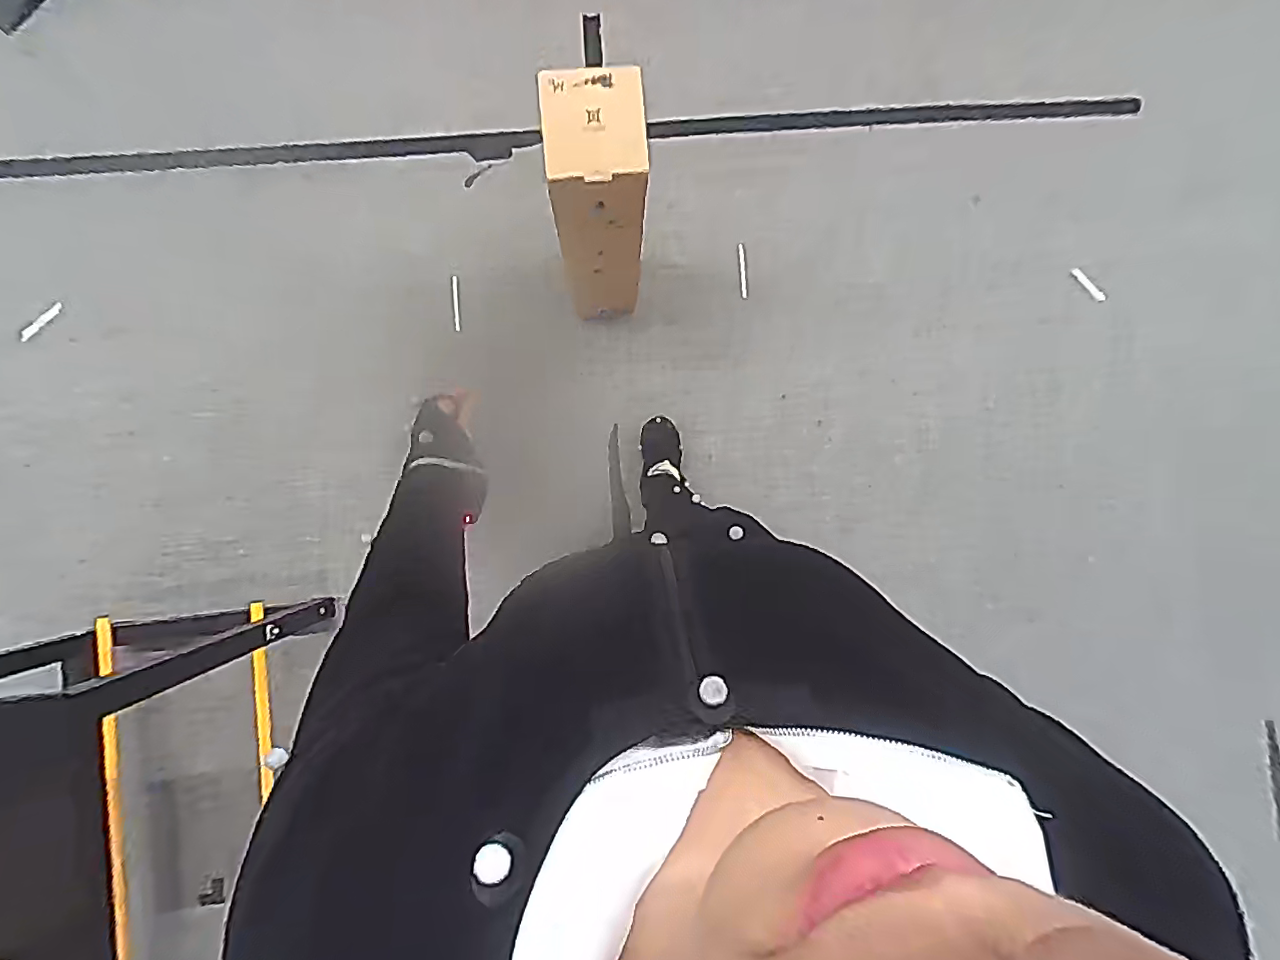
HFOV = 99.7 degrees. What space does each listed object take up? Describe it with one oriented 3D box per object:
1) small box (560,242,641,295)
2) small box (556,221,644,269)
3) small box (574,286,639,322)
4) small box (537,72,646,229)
[{"bbox_3d":[-0.091,-0.541,1.257,0.179,0.176,0.168,-5,89,-3],"label":"small box"},{"bbox_3d":[-0.081,-0.548,1.093,0.168,0.176,0.179,-2,89,-2],"label":"small box"},{"bbox_3d":[-0.098,-0.536,1.421,0.168,0.176,0.179,-10,90,-2],"label":"small box"},{"bbox_3d":[-0.077,-0.550,0.929,0.168,0.176,0.179,-5,89,-2],"label":"small box"}]
